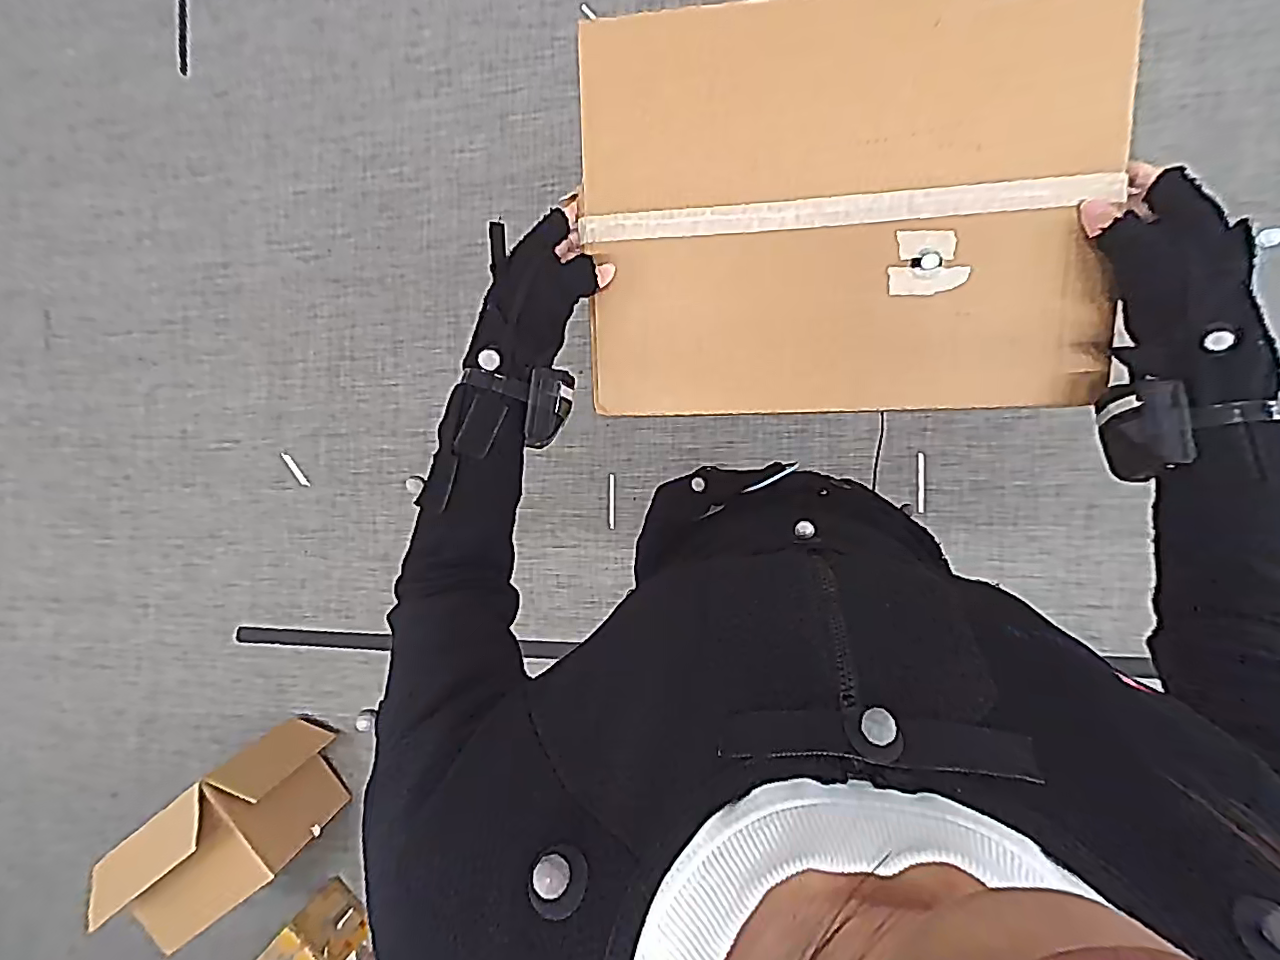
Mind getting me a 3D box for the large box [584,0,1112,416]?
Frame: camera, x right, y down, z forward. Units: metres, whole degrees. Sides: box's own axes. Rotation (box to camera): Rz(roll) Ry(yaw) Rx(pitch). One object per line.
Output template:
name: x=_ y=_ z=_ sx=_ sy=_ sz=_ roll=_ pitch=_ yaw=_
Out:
large box: x=0.173 y=-0.237 z=0.586 sx=0.408 sy=0.320 sz=0.320 roll=-1 pitch=99 yaw=8
